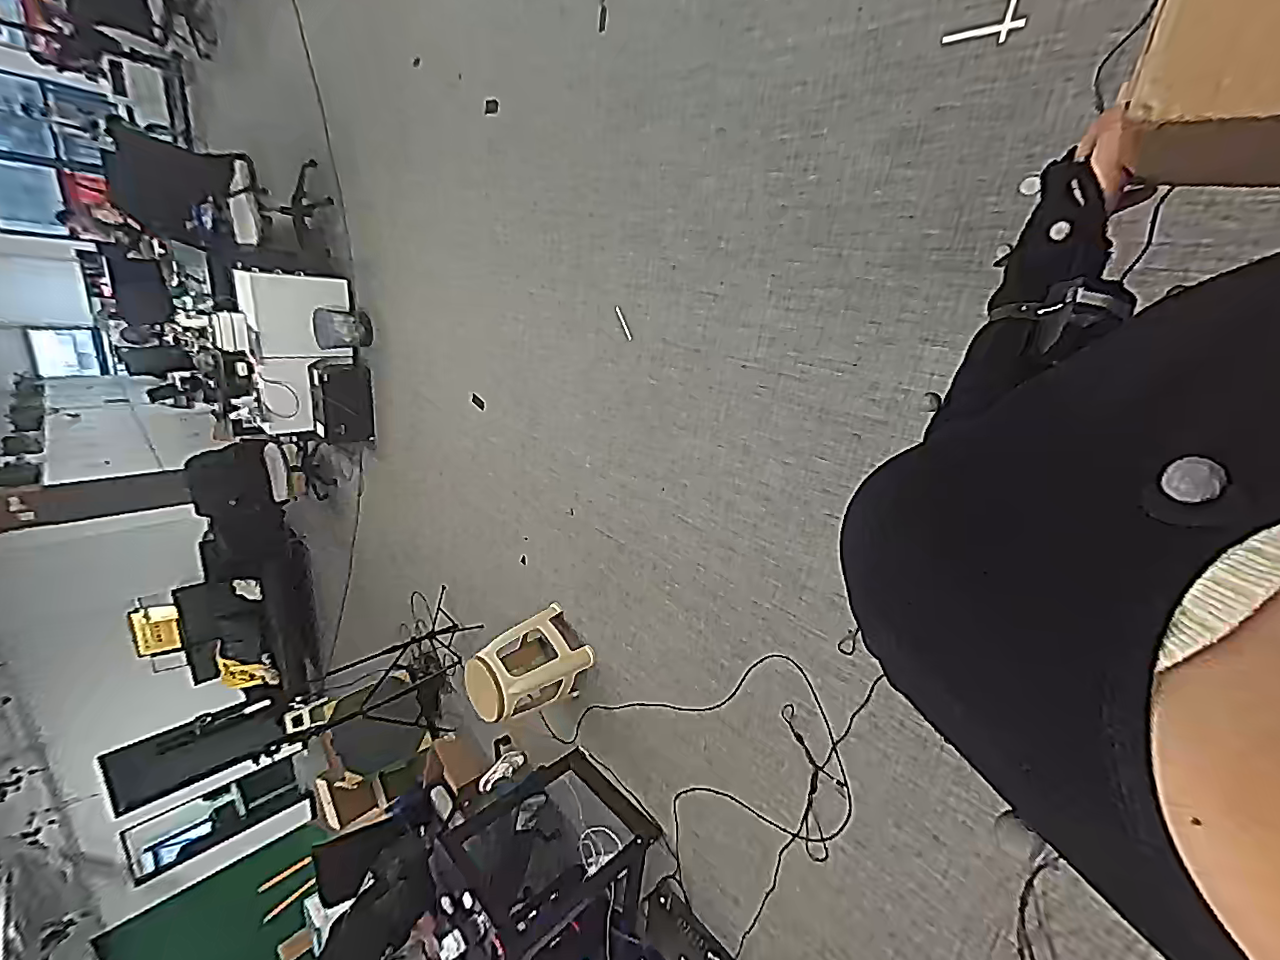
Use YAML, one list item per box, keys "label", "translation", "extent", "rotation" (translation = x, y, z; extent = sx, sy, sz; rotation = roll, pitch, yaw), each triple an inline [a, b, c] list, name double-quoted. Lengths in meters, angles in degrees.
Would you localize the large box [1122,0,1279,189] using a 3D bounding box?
- label: "large box"
  translation: [0.468, -0.284, 0.174]
  extent: [0.408, 0.320, 0.320]
  rotation: [21, 121, 33]
